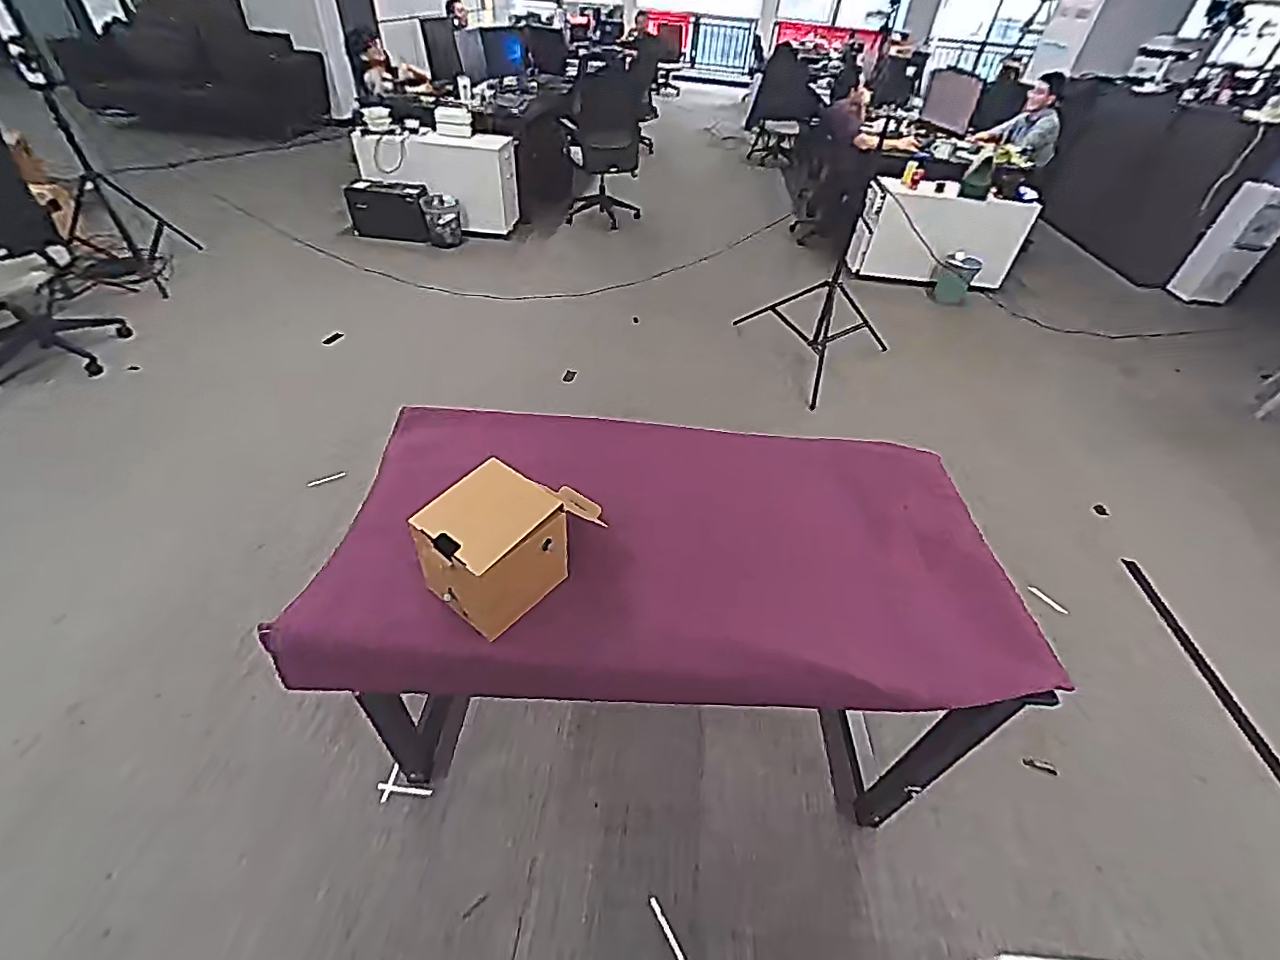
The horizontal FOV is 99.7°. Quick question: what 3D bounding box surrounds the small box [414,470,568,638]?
[{"bbox_3d":[-0.236,0.120,0.890,0.168,0.176,0.179,29,47,25],"label":"small box"}]
